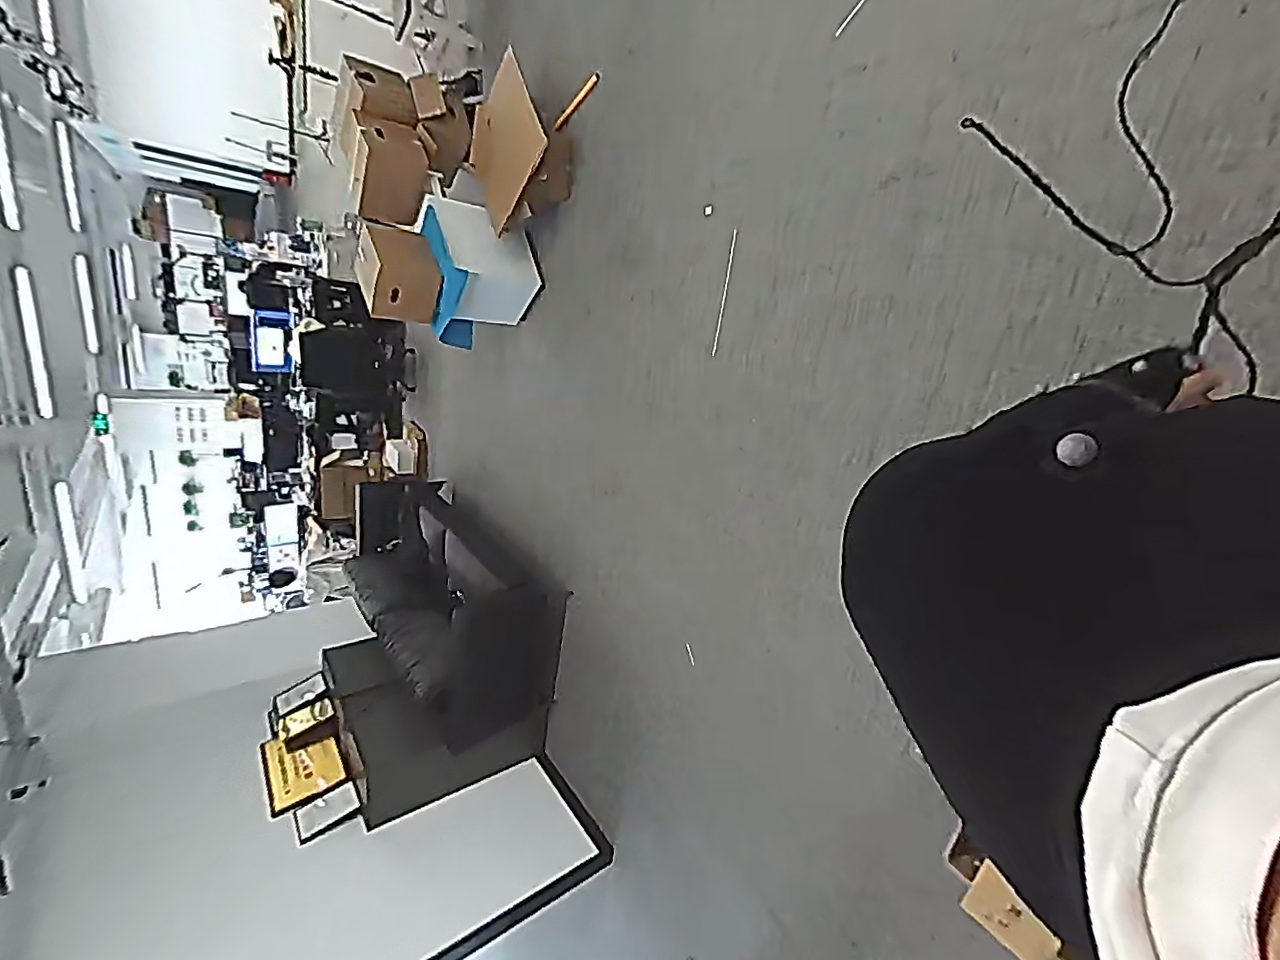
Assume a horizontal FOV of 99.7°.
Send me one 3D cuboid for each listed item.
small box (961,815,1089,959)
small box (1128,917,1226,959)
[{"bbox_3d":[0.871,0.907,1.218,0.168,0.176,0.179,33,119,44],"label":"small box"},{"bbox_3d":[1.034,0.997,1.022,0.168,0.176,0.179,30,117,46],"label":"small box"}]
